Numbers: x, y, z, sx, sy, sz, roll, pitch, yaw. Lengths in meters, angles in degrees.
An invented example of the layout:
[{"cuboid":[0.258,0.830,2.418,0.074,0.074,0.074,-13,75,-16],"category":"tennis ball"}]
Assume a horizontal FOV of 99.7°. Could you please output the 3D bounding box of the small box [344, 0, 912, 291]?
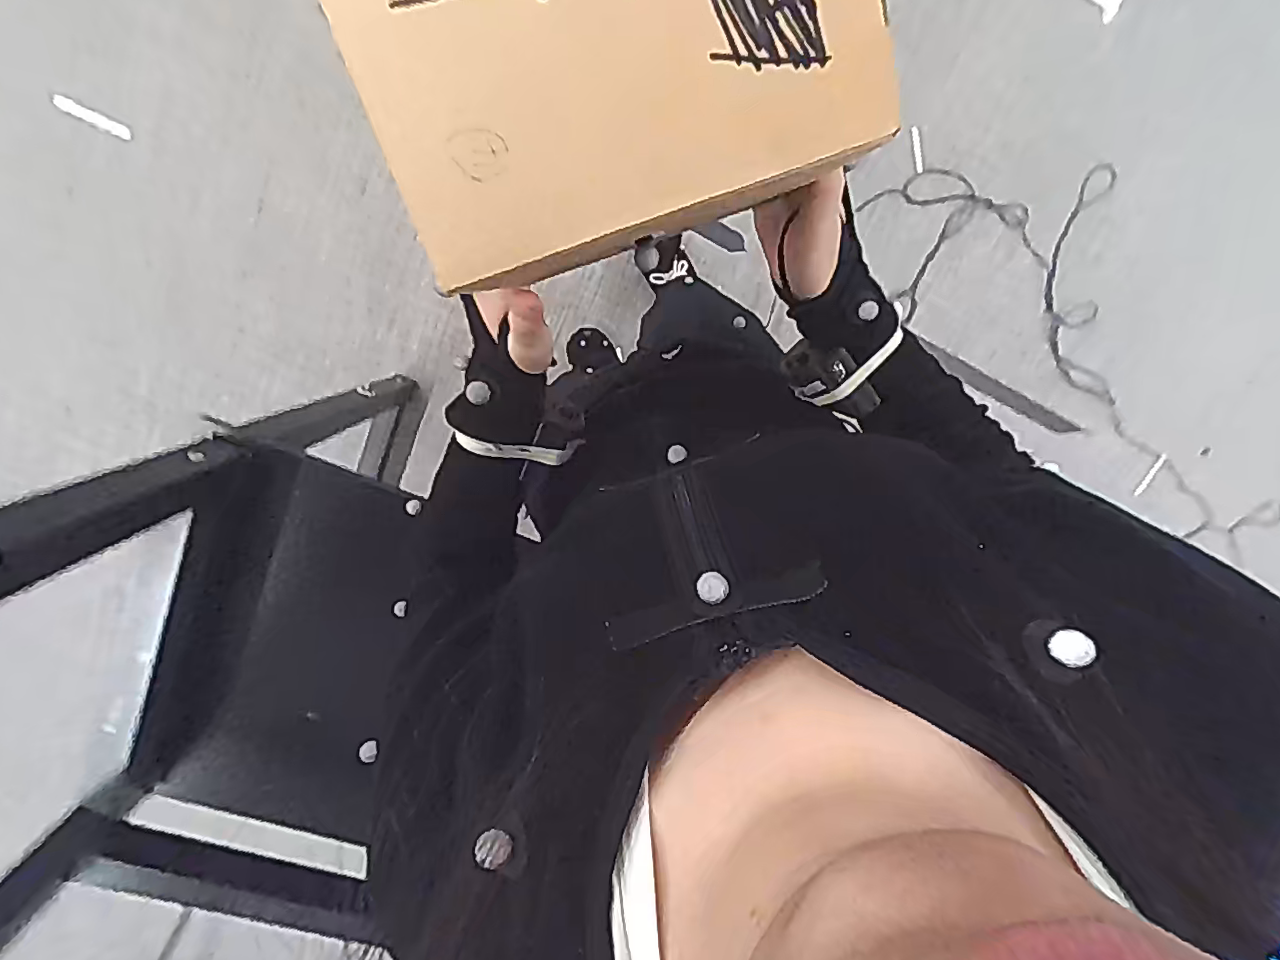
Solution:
[{"cuboid":[-0.010,-0.197,0.245,0.179,0.176,0.168,-16,110,7],"category":"small box"}]
